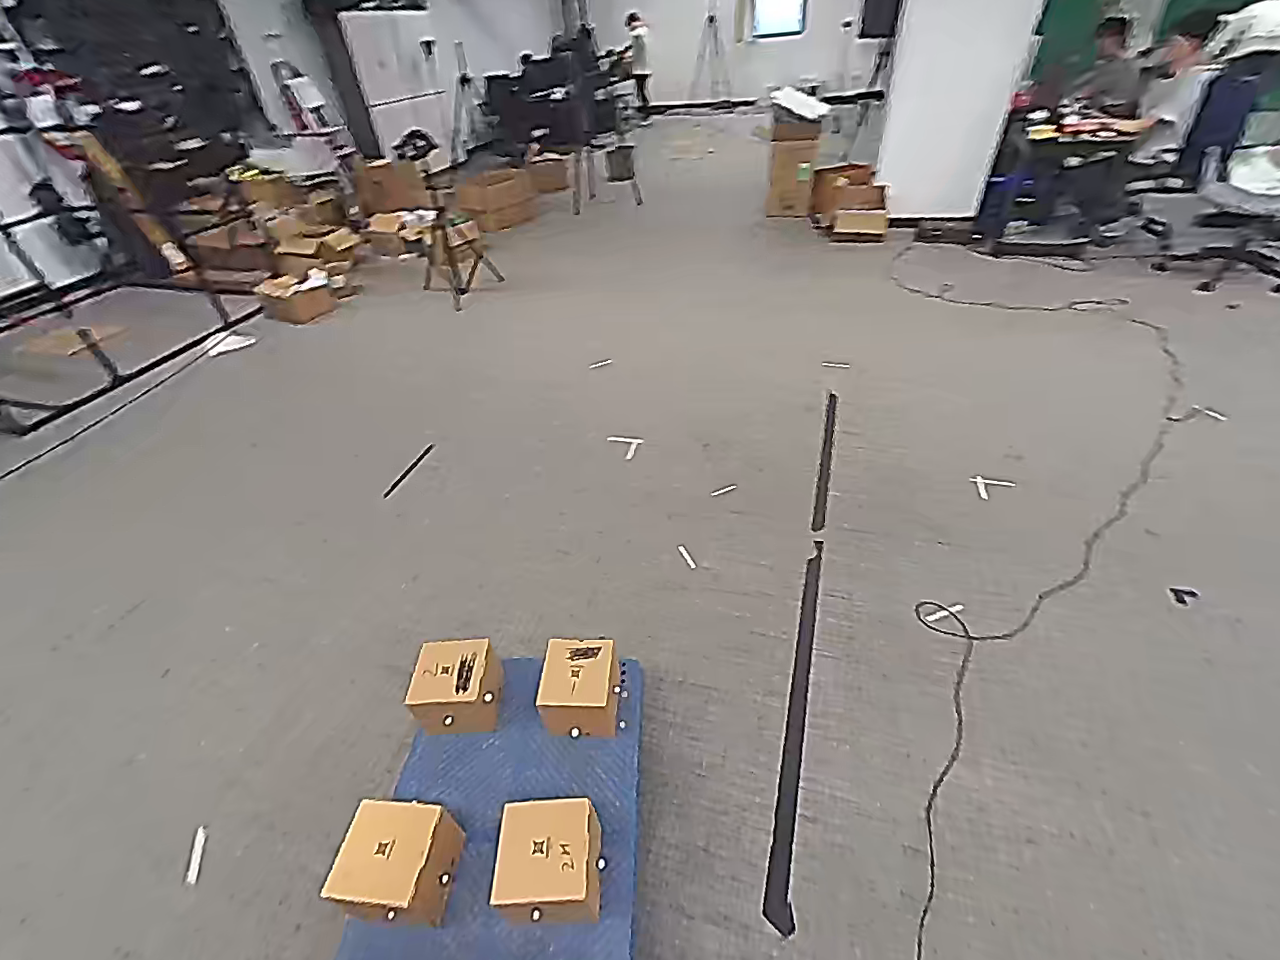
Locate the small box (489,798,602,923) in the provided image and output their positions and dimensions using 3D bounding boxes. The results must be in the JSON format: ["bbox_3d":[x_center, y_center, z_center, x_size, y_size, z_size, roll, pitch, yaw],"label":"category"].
[{"bbox_3d":[-0.177,0.753,1.067,0.179,0.176,0.168,-4,40,2],"label":"small box"}]

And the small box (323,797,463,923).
[{"bbox_3d":[-0.485,0.766,1.090,0.179,0.176,0.168,1,40,6],"label":"small box"}]

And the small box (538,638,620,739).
[{"bbox_3d":[-0.143,0.516,1.343,0.168,0.176,0.179,-1,42,6],"label":"small box"}]
